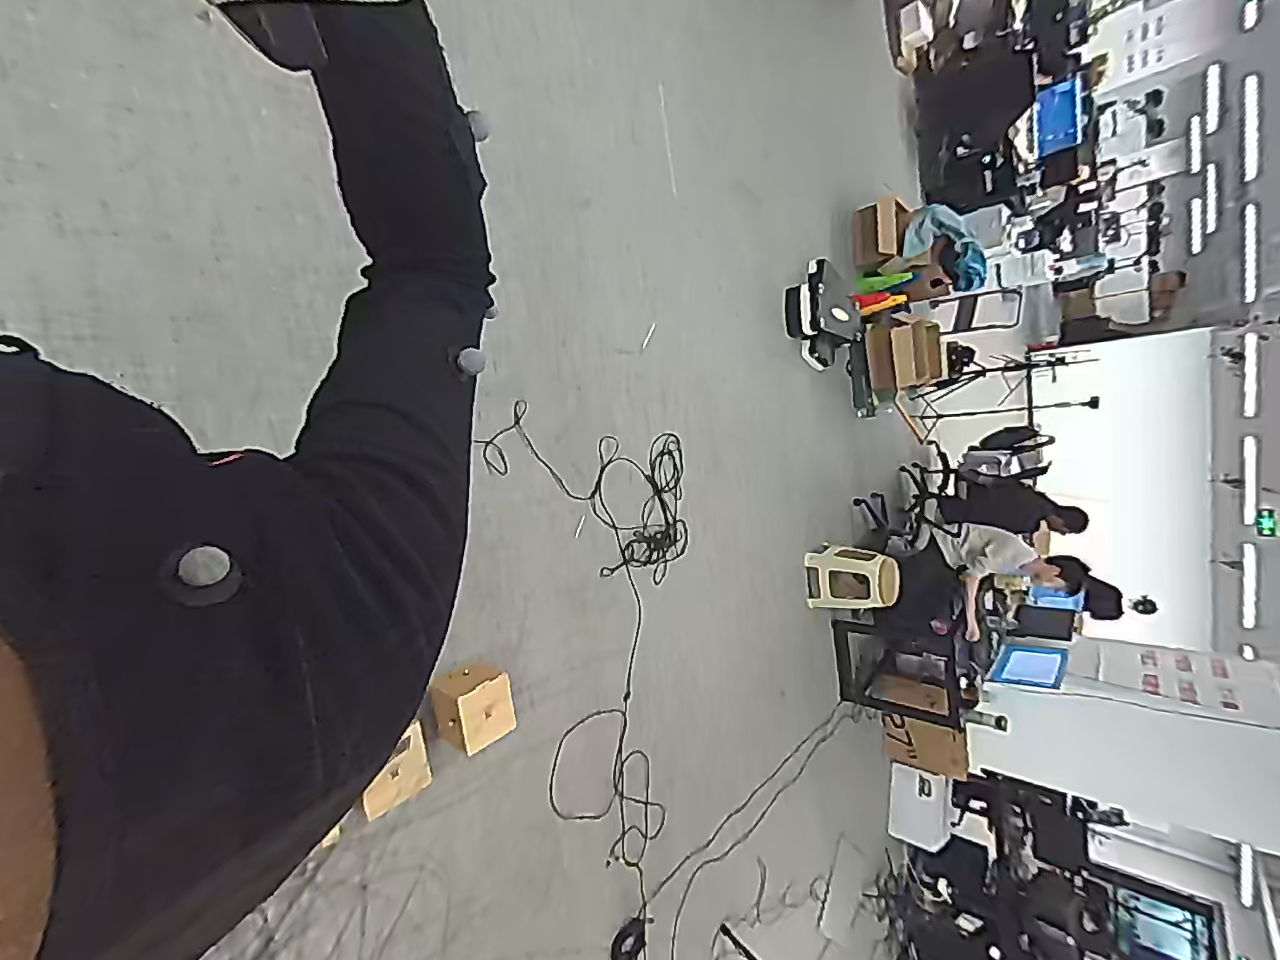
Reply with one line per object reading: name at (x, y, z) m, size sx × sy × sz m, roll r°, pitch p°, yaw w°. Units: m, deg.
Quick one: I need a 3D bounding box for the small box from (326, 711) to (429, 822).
small box at (-0.665, 0.707, 1.364) m, size 0.168 × 0.176 × 0.179 m, roll -17°, pitch 102°, yaw -48°

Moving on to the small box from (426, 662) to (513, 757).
small box at (-0.492, 0.652, 1.559) m, size 0.168 × 0.176 × 0.179 m, roll -16°, pitch 100°, yaw -47°
